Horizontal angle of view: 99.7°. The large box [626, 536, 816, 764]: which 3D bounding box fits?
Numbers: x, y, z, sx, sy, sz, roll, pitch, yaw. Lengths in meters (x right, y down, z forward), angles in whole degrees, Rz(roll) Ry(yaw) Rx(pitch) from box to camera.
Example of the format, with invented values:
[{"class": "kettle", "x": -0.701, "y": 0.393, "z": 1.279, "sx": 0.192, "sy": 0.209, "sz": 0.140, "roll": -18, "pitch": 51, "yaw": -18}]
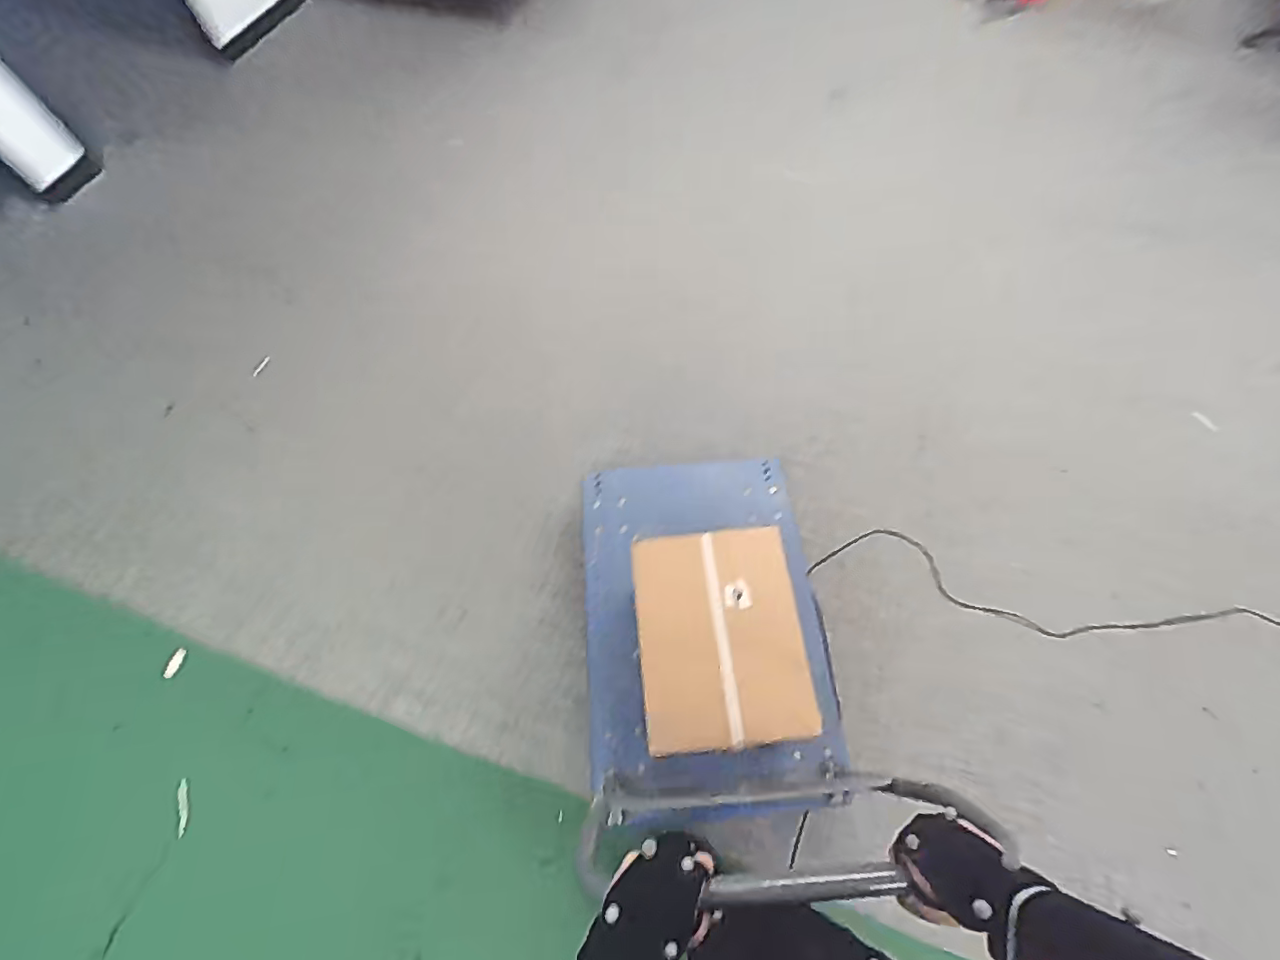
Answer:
[{"class": "large box", "x": 0.151, "y": 0.379, "z": 1.186, "sx": 0.320, "sy": 0.320, "sz": 0.408, "roll": -6, "pitch": 63, "yaw": -1}]
